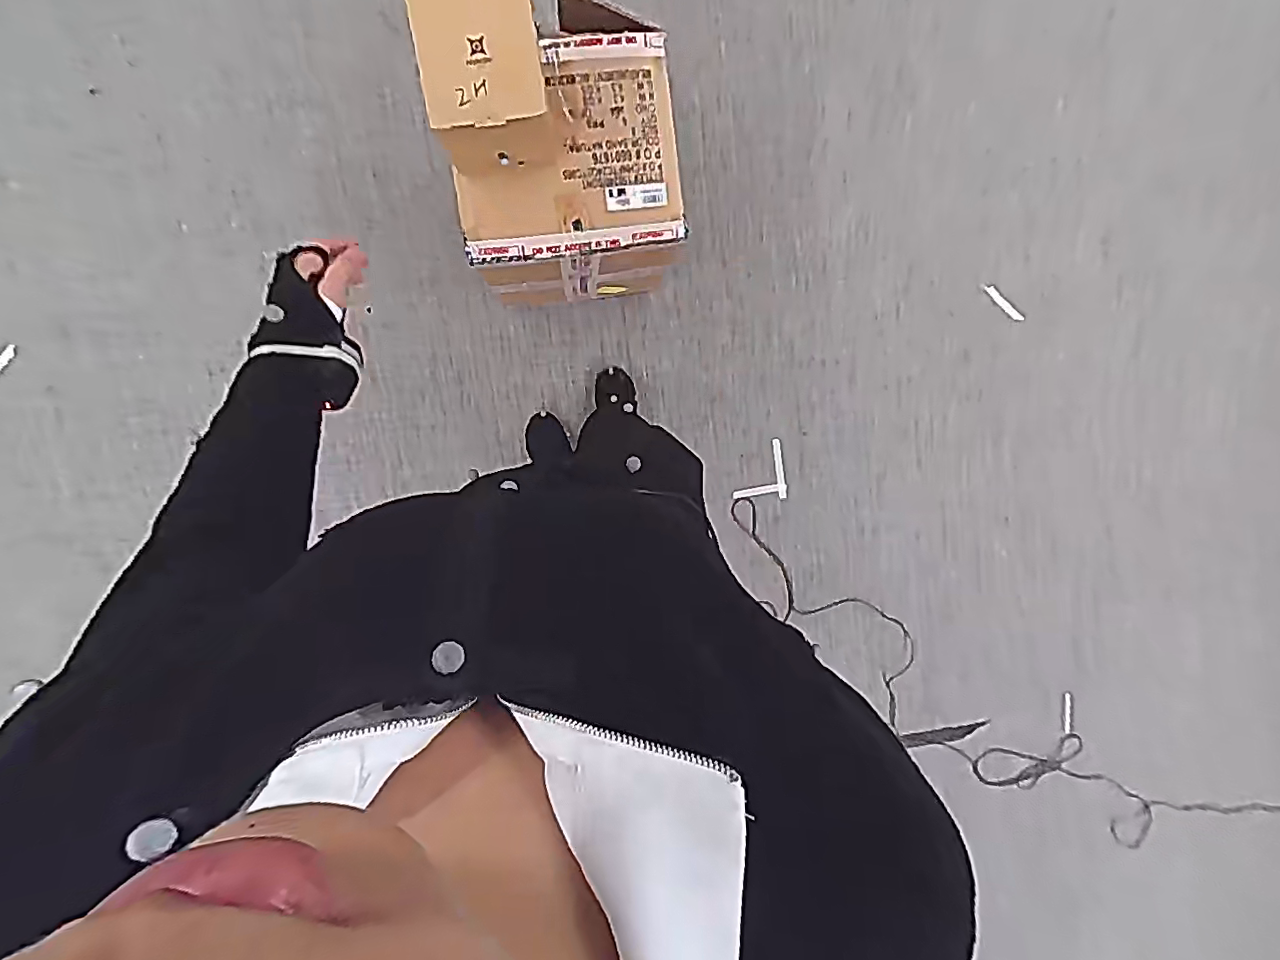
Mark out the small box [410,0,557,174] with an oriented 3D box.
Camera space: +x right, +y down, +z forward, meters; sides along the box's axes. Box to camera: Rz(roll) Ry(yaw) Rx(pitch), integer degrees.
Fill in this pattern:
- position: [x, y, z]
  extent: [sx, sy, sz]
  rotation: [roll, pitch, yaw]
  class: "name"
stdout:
- position: [-0.225, -0.595, 0.817]
  extent: [0.168, 0.176, 0.179]
  rotation: [-9, 101, -2]
  class: "small box"
